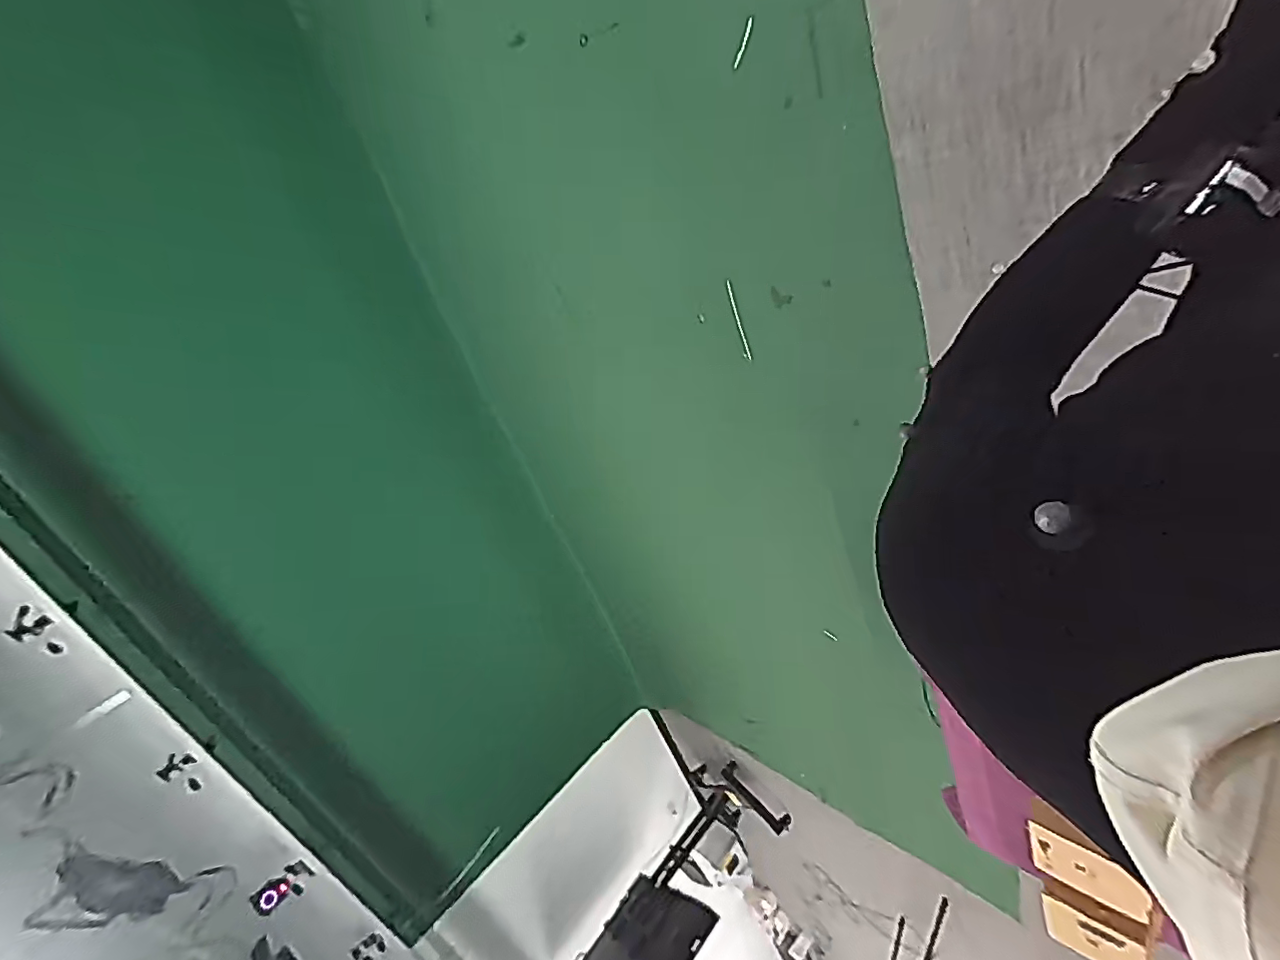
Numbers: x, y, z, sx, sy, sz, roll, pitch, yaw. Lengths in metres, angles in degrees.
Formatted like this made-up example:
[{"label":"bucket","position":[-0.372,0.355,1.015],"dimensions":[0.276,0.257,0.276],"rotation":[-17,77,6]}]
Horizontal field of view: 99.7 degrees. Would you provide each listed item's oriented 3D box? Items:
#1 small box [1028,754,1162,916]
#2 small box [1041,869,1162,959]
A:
[{"label":"small box","position":[0.891,0.679,1.057],"dimensions":[0.179,0.176,0.168],"rotation":[8,129,50]},{"label":"small box","position":[0.985,0.891,1.153],"dimensions":[0.168,0.176,0.179],"rotation":[6,127,51]}]
